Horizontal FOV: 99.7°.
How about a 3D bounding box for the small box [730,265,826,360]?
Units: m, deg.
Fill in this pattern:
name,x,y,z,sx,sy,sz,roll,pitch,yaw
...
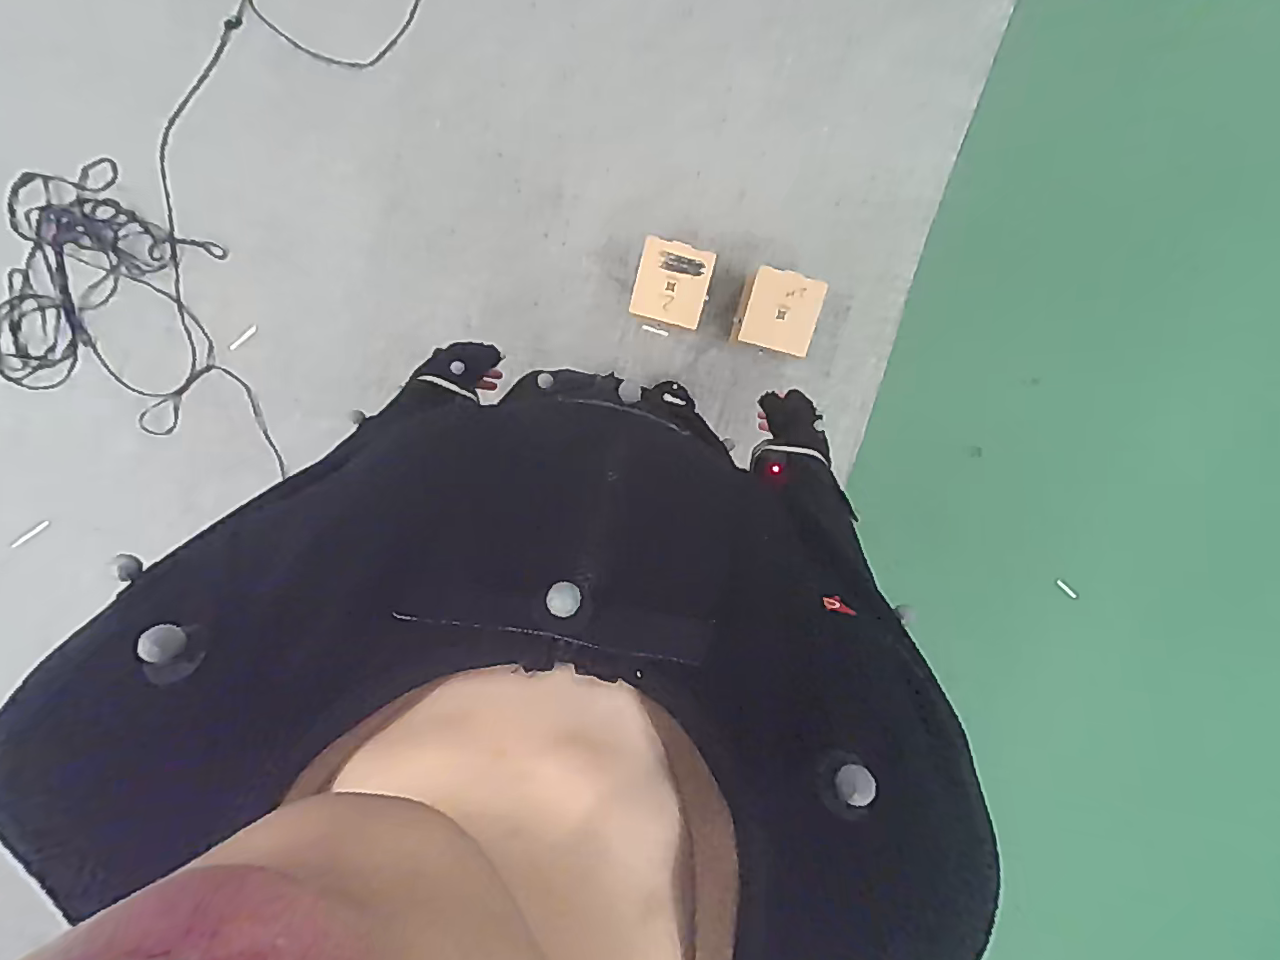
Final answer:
name,x,y,z,sx,sy,sz,roll,pitch,yaw
small box,0.324,-0.396,1.312,0.168,0.176,0.179,15,101,-3
